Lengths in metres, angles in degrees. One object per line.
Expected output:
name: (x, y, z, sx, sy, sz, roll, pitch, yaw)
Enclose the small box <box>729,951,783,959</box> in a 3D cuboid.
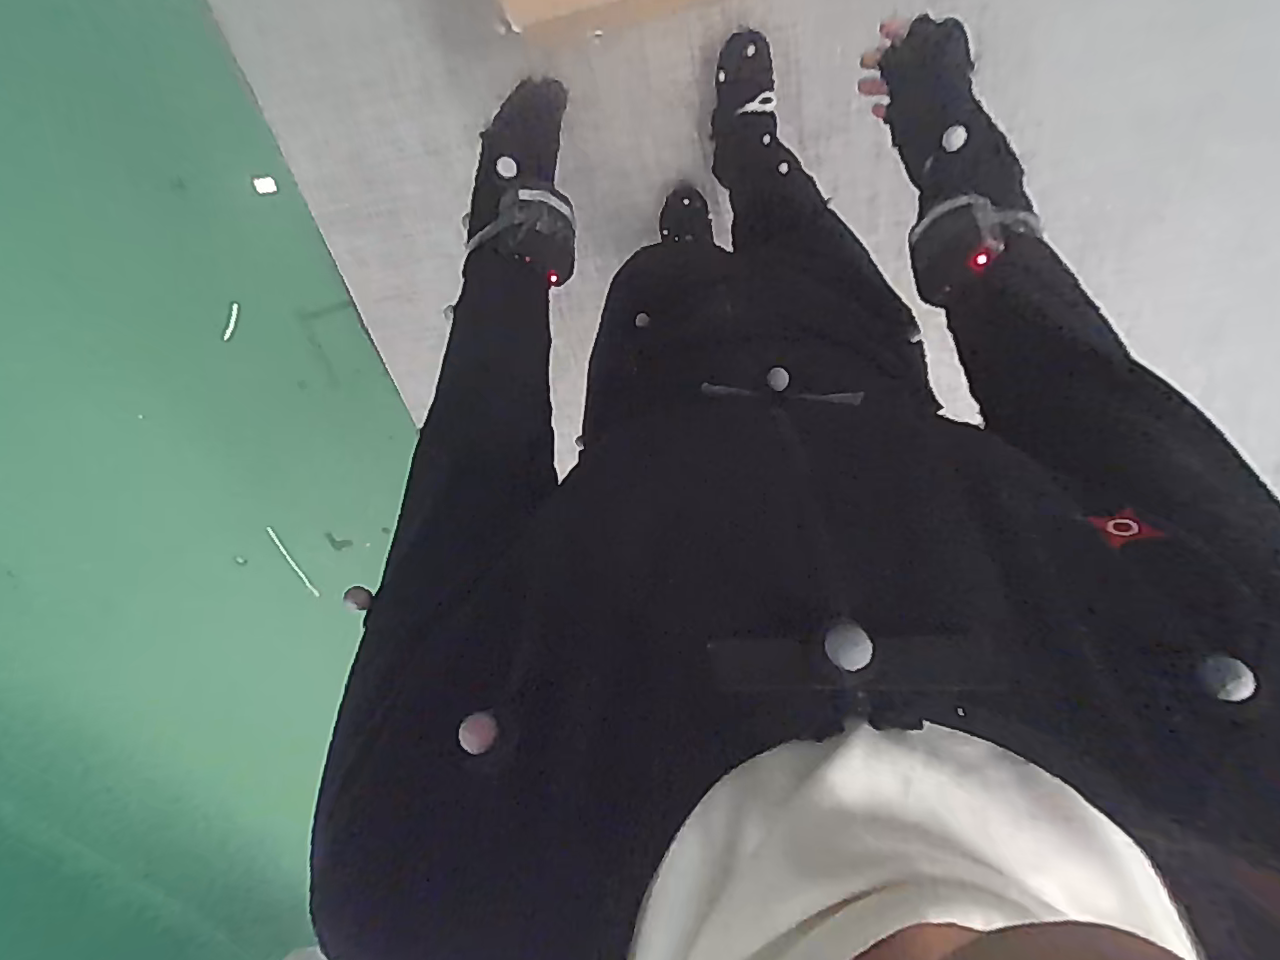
small box: (0.381, 1.617, 1.705, 0.168, 0.176, 0.179, -11, 123, 11)
